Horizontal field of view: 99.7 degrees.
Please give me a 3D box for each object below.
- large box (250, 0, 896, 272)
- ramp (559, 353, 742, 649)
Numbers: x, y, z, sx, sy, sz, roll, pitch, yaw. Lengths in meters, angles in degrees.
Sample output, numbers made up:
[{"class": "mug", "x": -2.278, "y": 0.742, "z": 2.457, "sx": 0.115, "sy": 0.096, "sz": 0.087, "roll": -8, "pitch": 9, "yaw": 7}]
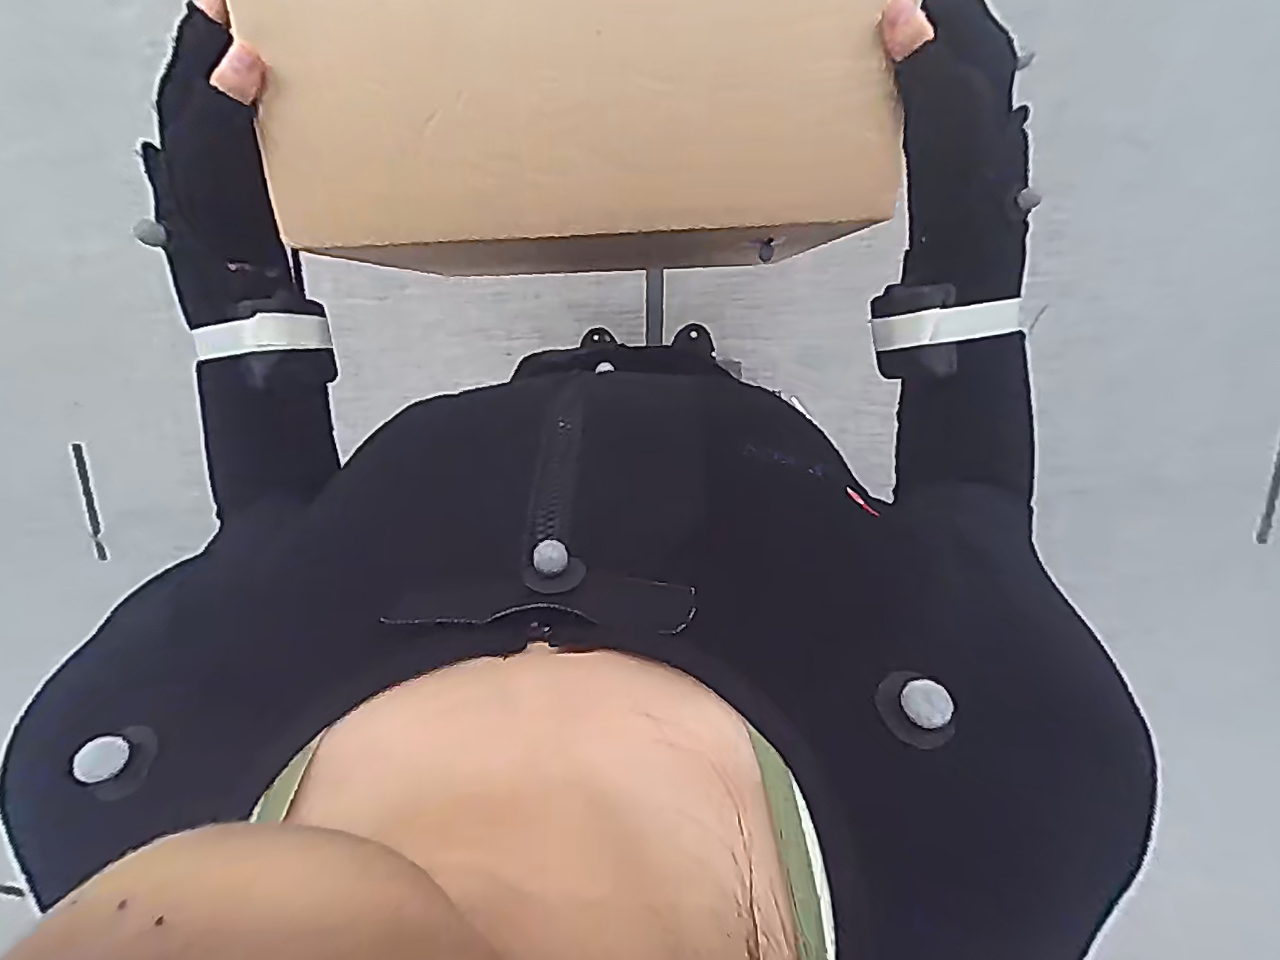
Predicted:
[{"class": "large box", "x": -0.040, "y": -0.360, "z": 0.467, "sx": 0.408, "sy": 0.320, "sz": 0.320, "roll": -2, "pitch": 107, "yaw": 1}, {"class": "ramp", "x": 0.041, "y": 0.121, "z": 1.631, "sx": 0.509, "sy": 0.206, "sz": 0.991, "roll": -2, "pitch": 105, "yaw": 2}]
